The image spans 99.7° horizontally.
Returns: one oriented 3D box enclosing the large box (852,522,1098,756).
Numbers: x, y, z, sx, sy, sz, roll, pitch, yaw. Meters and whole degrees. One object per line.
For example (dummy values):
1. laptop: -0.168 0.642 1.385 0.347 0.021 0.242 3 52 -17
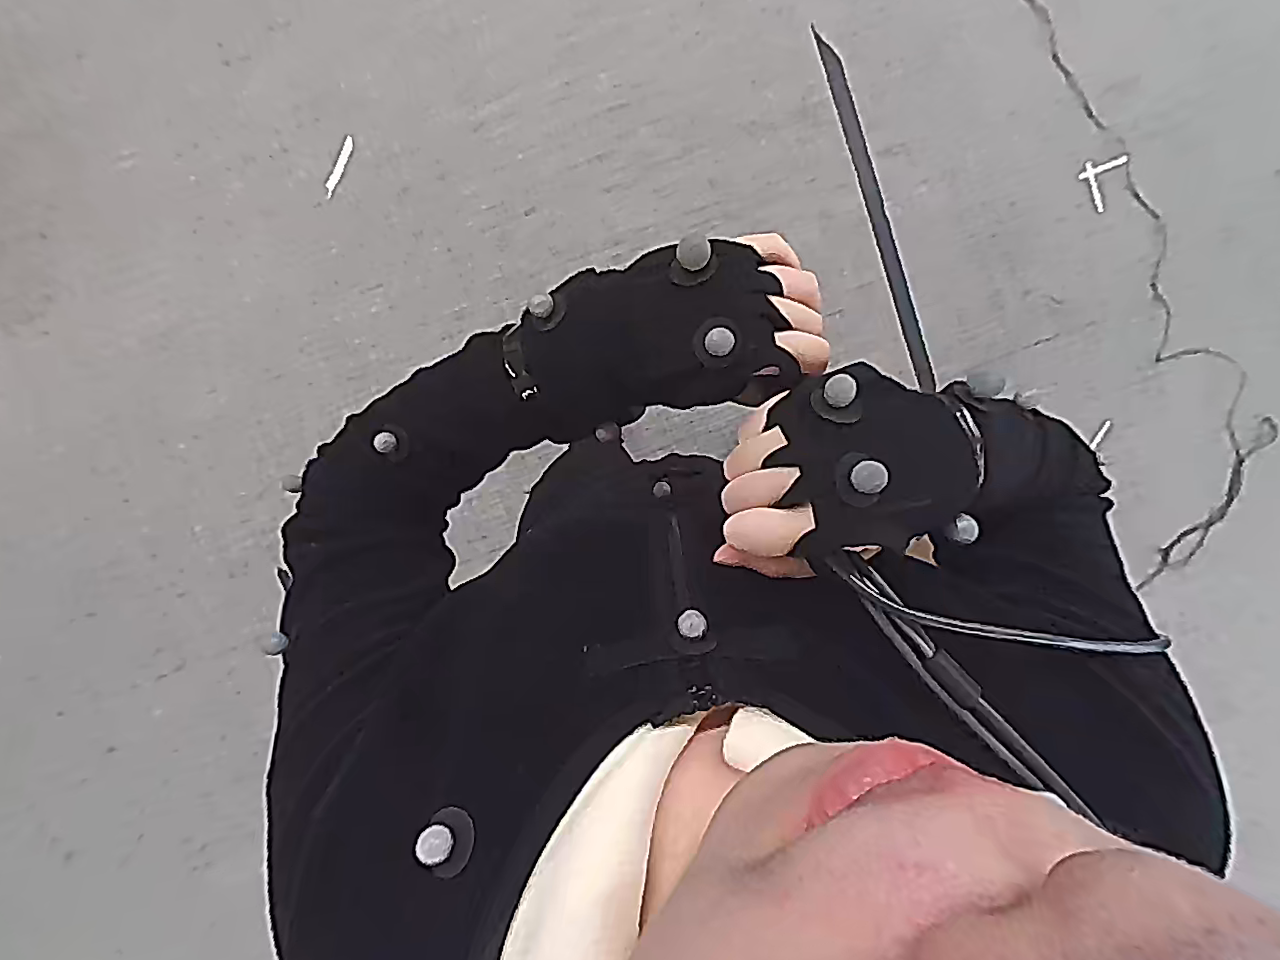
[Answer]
1. large box: 0.720 0.329 1.219 0.320 0.320 0.408 9 95 -2
